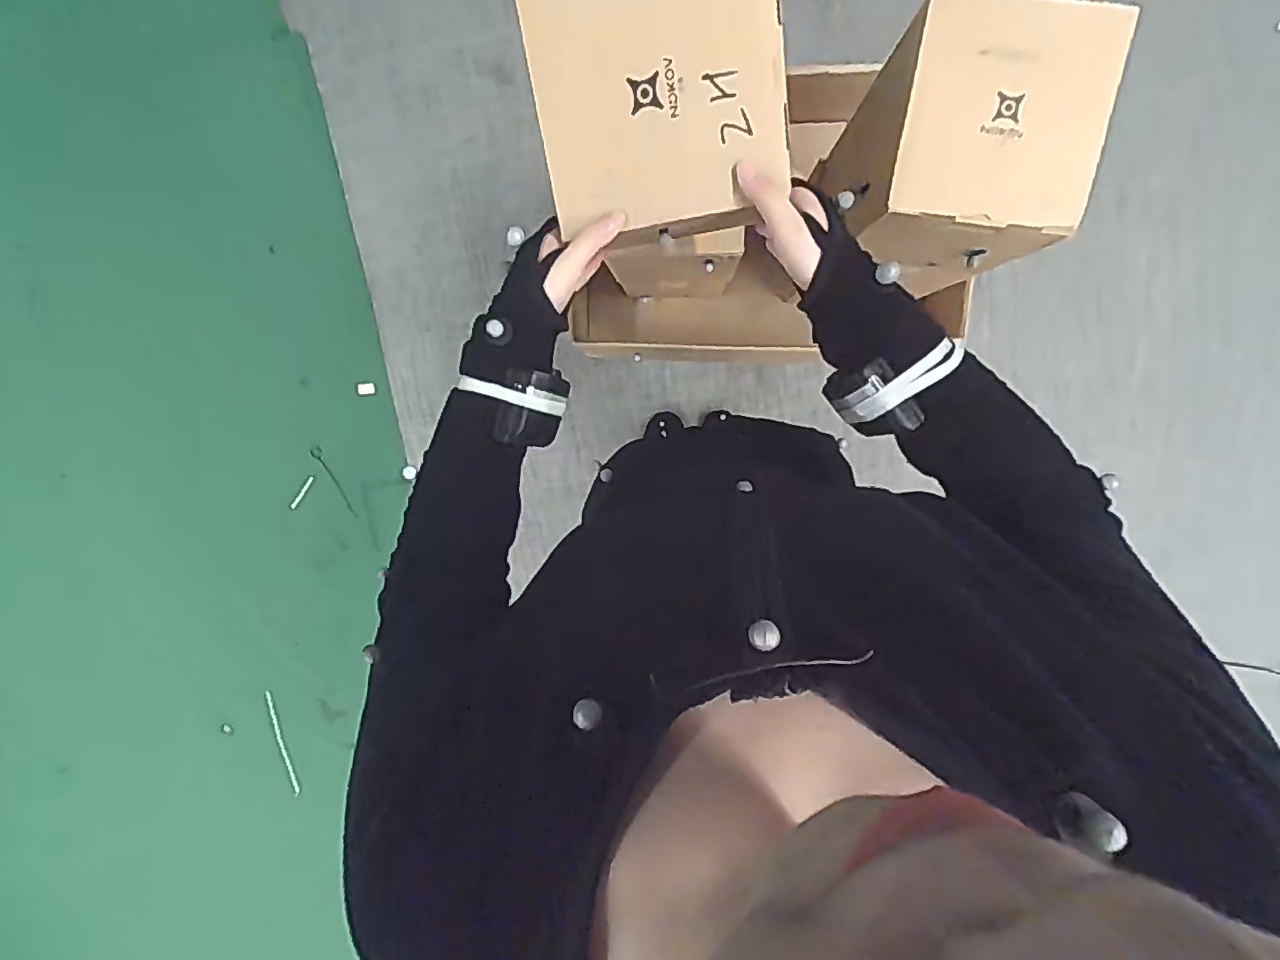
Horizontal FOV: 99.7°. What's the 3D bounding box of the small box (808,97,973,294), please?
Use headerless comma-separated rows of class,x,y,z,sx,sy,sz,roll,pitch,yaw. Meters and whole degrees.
small box,0.323,-0.344,0.688,0.168,0.176,0.179,8,101,3

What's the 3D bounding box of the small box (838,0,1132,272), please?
small box,0.308,-0.316,0.528,0.168,0.176,0.179,9,100,4

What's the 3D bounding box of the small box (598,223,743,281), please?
small box,0.042,-0.365,0.714,0.179,0.176,0.168,1,100,4

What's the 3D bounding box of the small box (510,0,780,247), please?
small box,0.016,-0.300,0.456,0.179,0.176,0.168,-6,110,9
